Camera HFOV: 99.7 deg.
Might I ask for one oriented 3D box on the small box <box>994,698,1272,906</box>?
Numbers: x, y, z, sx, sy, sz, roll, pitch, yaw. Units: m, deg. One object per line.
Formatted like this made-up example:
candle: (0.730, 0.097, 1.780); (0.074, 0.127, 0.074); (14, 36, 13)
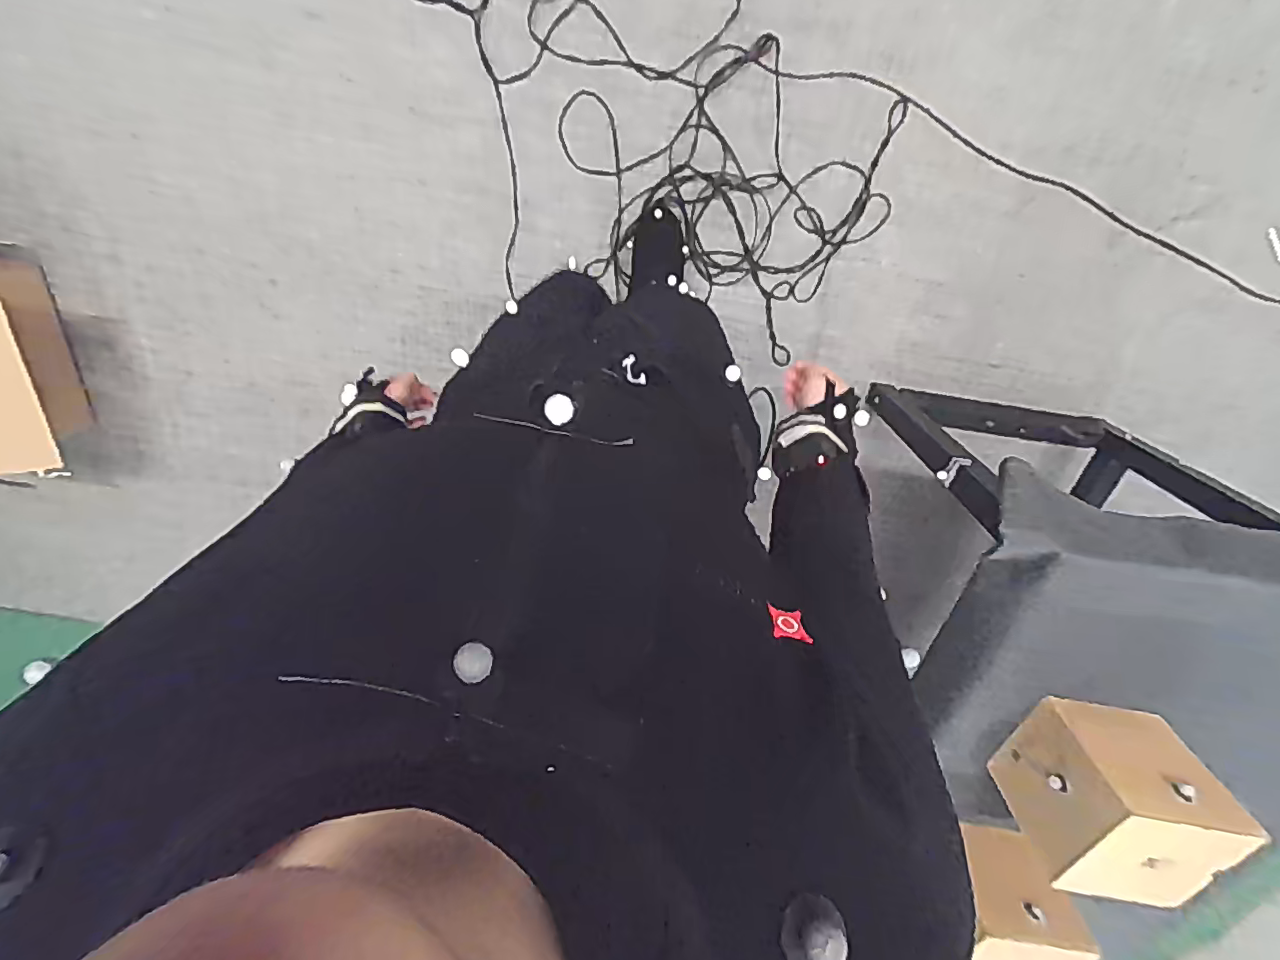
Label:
small box: (0.621, 0.416, 0.715); (0.179, 0.176, 0.168); (11, 118, -4)

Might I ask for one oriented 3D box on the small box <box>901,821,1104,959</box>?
small box: (0.555, 0.677, 0.859); (0.179, 0.176, 0.168); (11, 117, -3)
